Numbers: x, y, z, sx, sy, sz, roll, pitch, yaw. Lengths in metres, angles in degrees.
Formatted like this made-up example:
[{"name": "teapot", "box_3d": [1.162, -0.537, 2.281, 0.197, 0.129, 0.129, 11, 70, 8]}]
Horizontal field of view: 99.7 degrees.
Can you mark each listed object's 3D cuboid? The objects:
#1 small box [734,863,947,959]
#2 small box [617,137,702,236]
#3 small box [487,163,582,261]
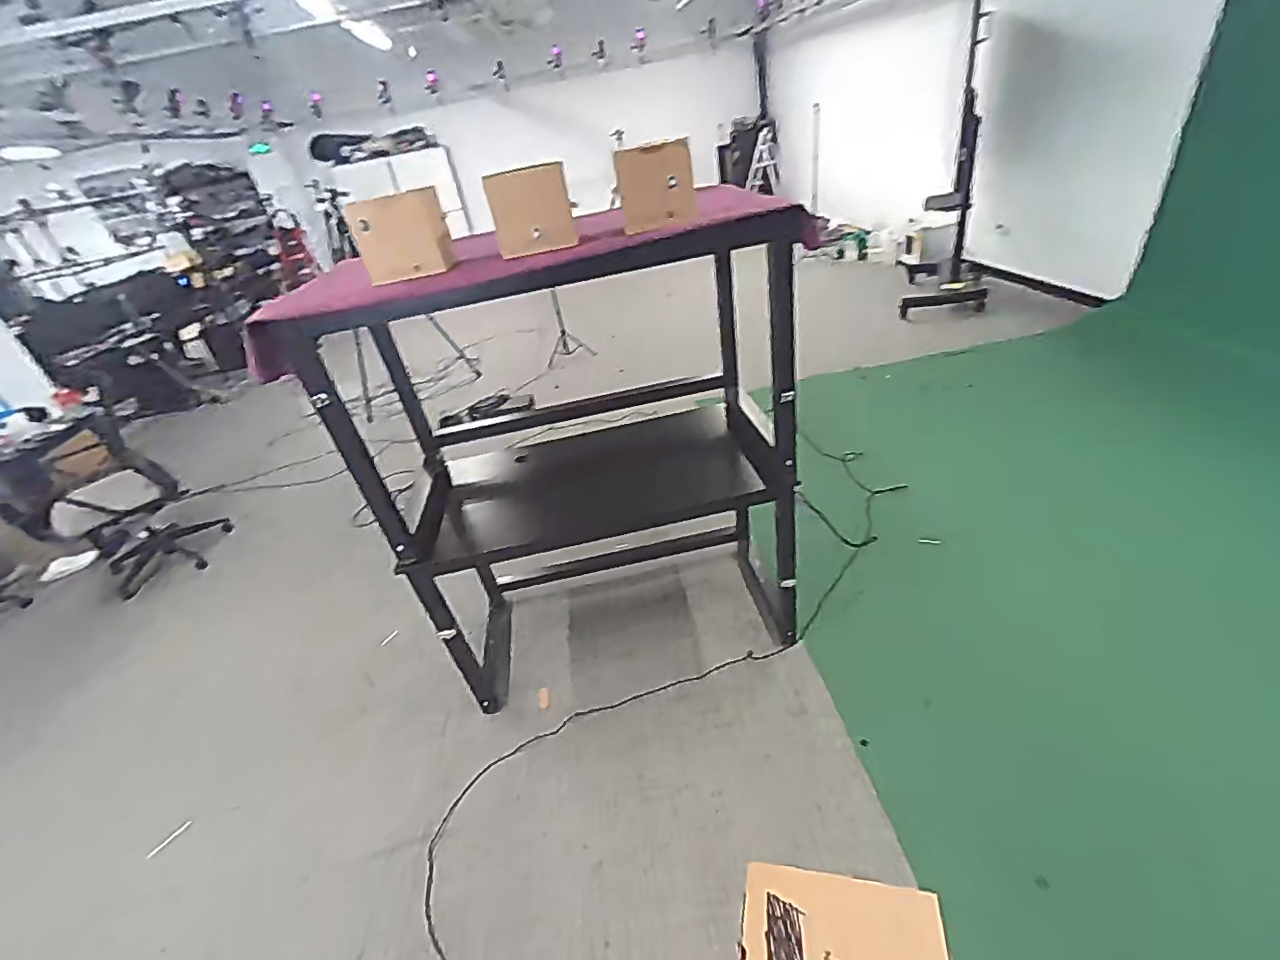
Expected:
[{"name": "small box", "box_3d": [0.179, 0.488, 0.478, 0.179, 0.176, 0.168, -3, 23, 19]}, {"name": "small box", "box_3d": [0.043, -0.669, 1.237, 0.168, 0.176, 0.179, -10, 32, 2]}, {"name": "small box", "box_3d": [-0.230, -0.612, 1.232, 0.179, 0.176, 0.168, -11, 31, -1]}]
